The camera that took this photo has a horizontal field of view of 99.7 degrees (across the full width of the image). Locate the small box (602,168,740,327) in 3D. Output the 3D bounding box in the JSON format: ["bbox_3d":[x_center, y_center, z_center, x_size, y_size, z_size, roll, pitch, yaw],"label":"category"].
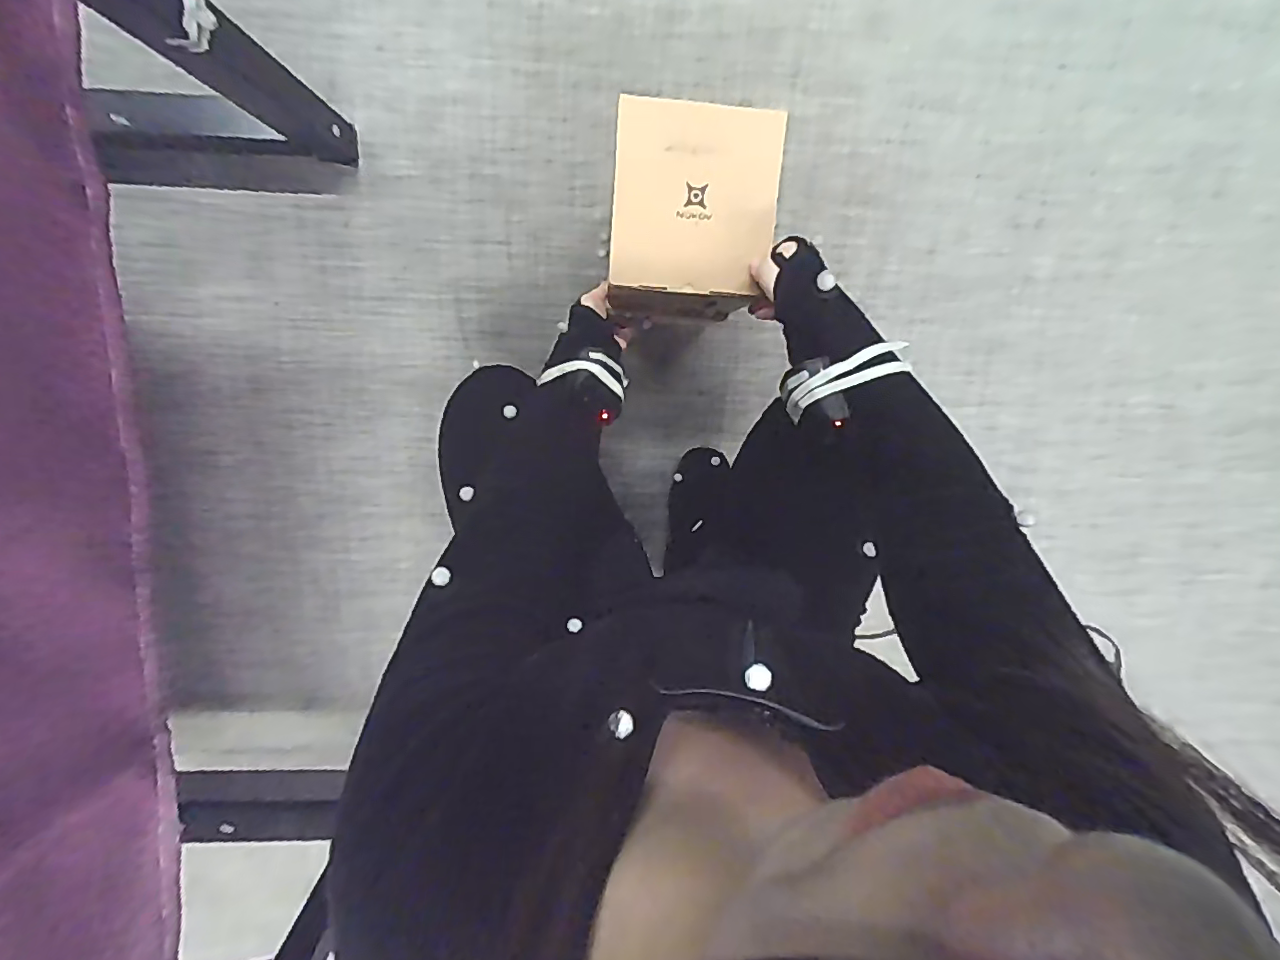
[{"bbox_3d":[0.036,-0.318,0.778,0.168,0.176,0.179,4,102,-4],"label":"small box"}]
